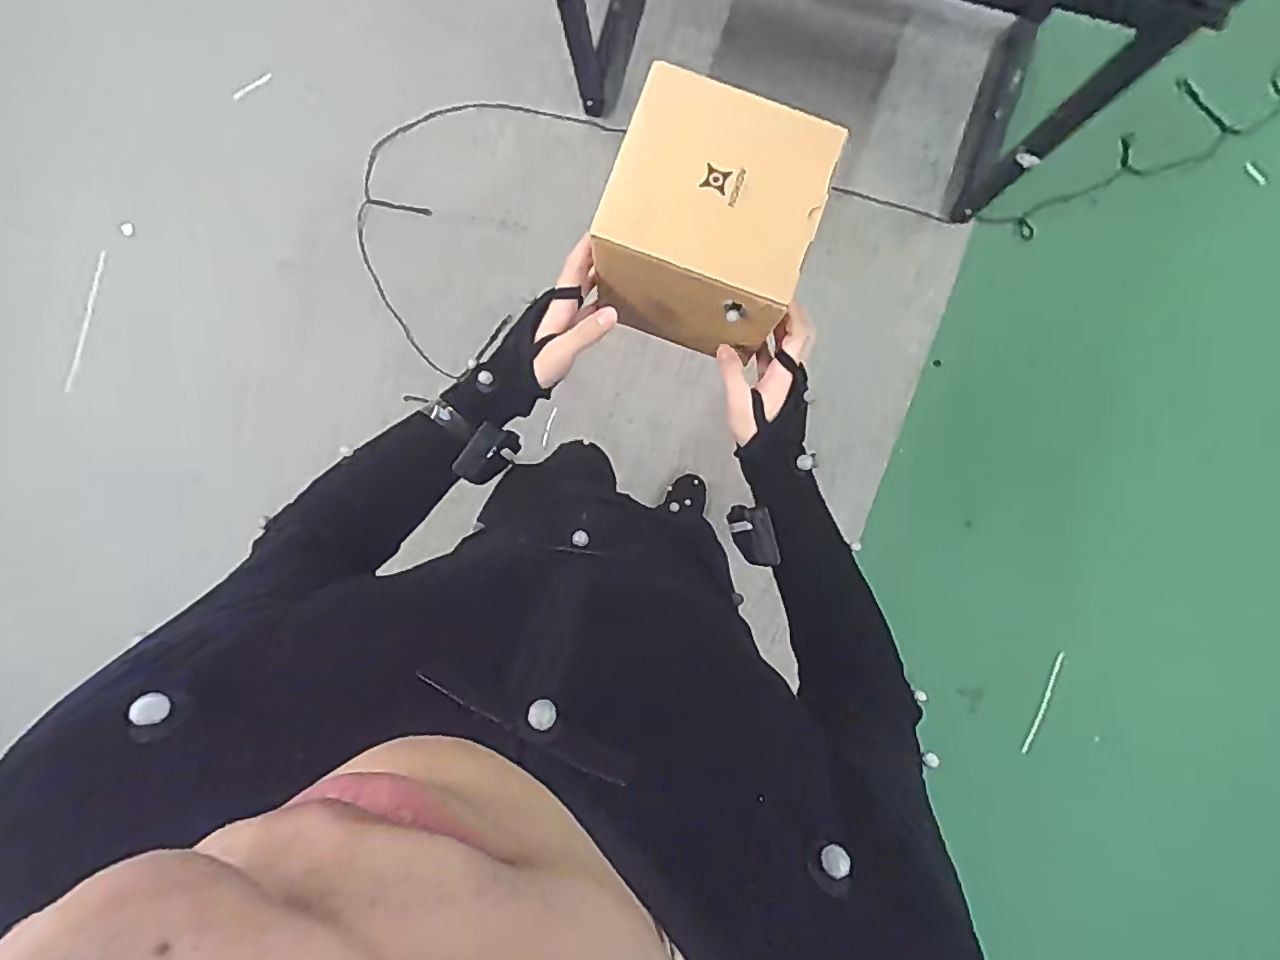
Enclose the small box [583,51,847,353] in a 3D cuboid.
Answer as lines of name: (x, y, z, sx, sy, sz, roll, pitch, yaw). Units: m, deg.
small box: (0.059, -0.240, 0.512, 0.179, 0.176, 0.168, 19, 84, 0)
